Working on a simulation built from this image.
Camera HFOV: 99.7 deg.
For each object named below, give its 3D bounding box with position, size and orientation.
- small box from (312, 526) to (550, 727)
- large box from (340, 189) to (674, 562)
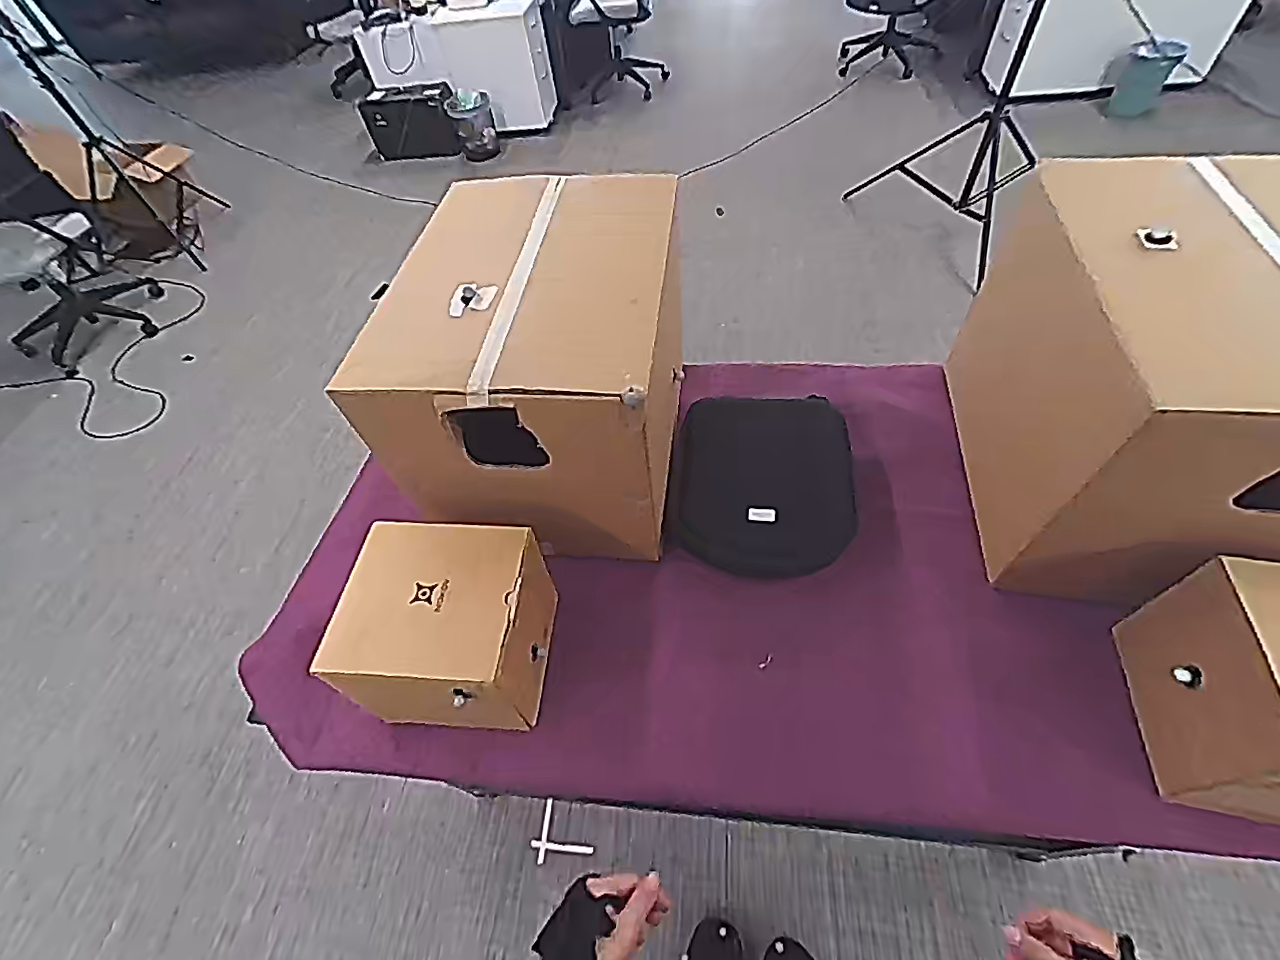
[{"bbox_3d":[-0.210,0.167,0.603,0.179,0.176,0.168,2,52,3],"label":"small box"},{"bbox_3d":[-0.116,-0.139,0.741,0.320,0.320,0.408,1,56,8],"label":"large box"}]
